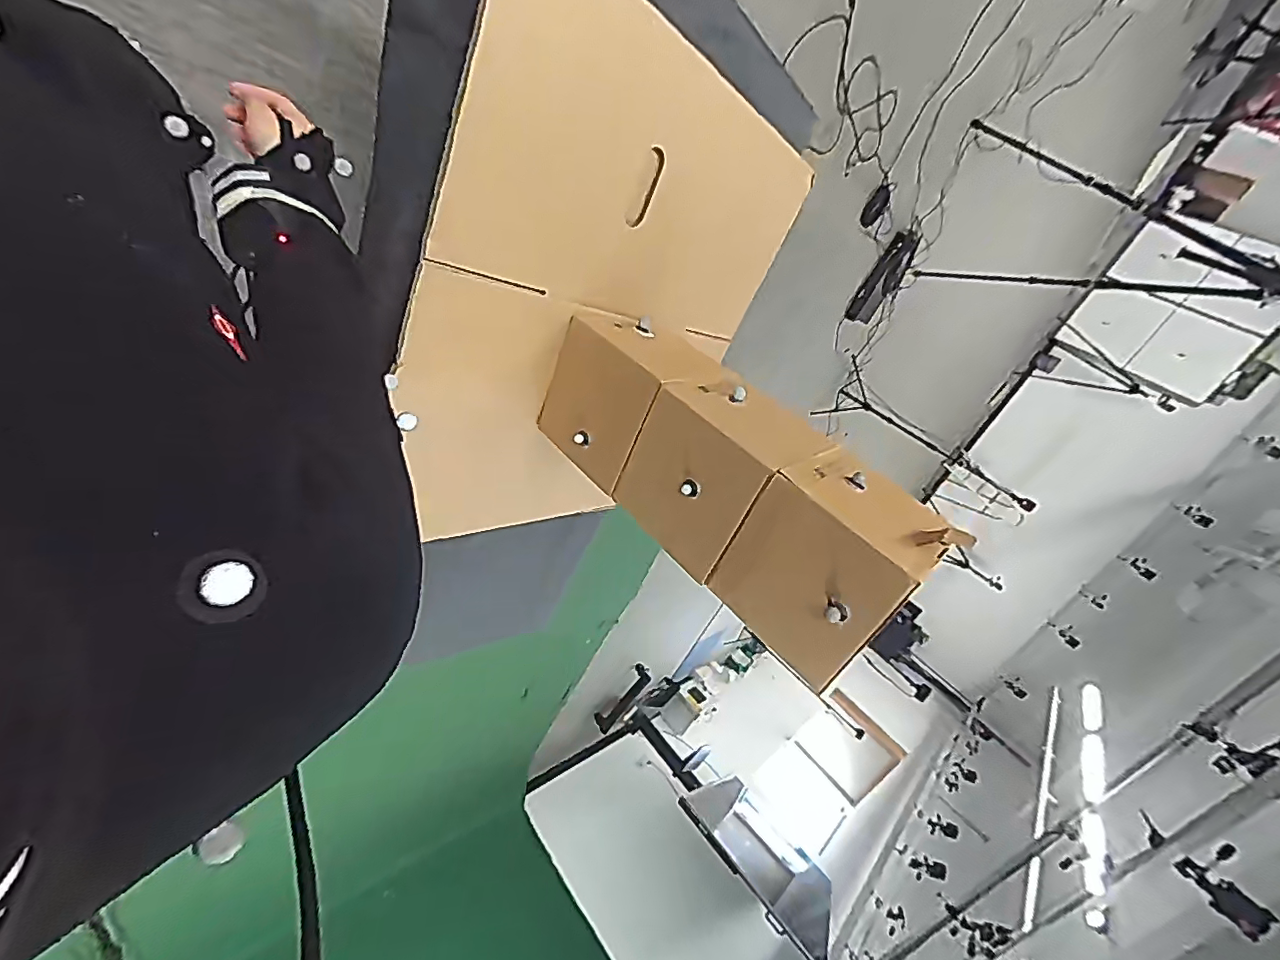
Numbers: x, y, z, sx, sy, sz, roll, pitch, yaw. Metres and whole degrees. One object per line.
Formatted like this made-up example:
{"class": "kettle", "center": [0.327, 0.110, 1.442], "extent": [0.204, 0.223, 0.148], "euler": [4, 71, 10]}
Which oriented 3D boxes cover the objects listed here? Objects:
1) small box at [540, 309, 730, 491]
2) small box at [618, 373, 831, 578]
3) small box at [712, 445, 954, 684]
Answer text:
{"class": "small box", "center": [-0.014, -0.114, 0.749], "extent": [0.168, 0.176, 0.179], "euler": [-16, 139, -48]}
{"class": "small box", "center": [0.096, -0.014, 0.679], "extent": [0.168, 0.176, 0.179], "euler": [-17, 140, -47]}
{"class": "small box", "center": [0.207, 0.085, 0.614], "extent": [0.168, 0.176, 0.179], "euler": [-17, 140, -47]}
